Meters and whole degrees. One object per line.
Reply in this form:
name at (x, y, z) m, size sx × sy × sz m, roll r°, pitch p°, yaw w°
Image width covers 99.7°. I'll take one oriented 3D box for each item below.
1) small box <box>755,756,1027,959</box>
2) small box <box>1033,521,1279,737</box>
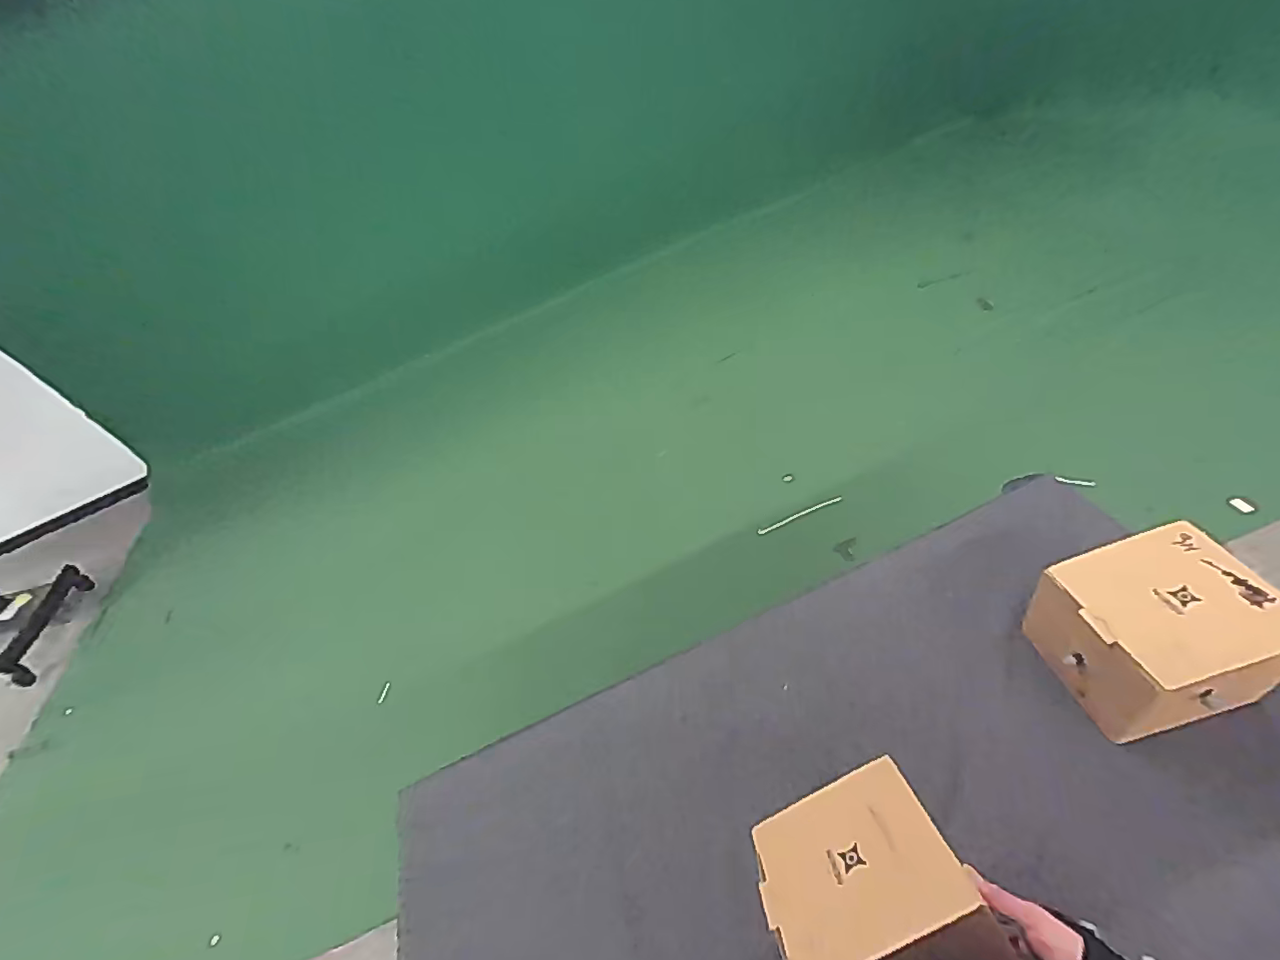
small box at (0.245, 0.426, 0.529) m, size 0.179 × 0.176 × 0.168 m, roll -33°, pitch 13°, yaw 6°
small box at (0.618, 0.185, 0.655) m, size 0.179 × 0.176 × 0.168 m, roll -21°, pitch 44°, yaw 5°
